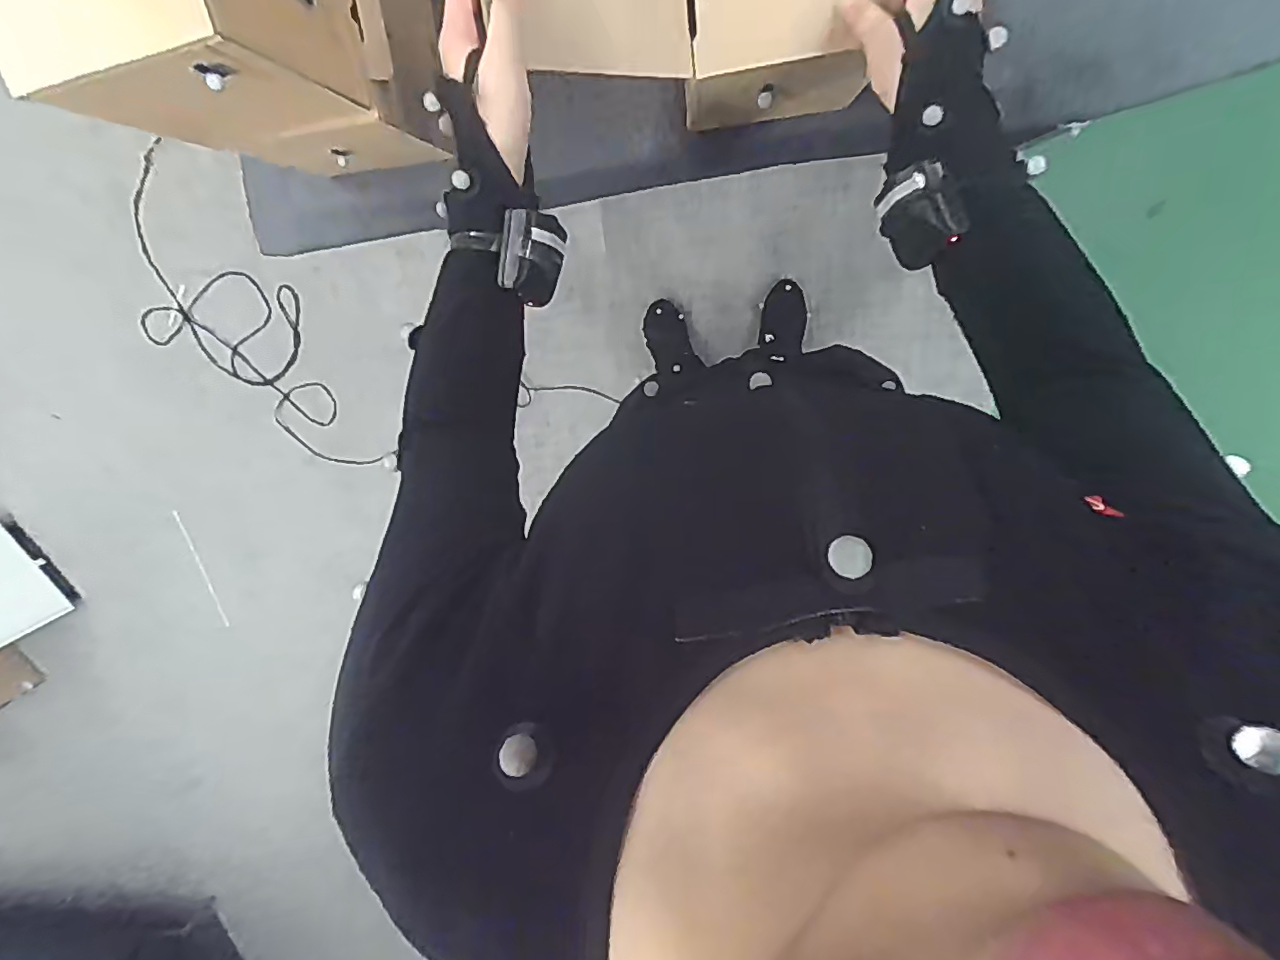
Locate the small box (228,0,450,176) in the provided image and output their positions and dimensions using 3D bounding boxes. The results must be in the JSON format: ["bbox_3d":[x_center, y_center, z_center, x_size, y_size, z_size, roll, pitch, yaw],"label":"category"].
[{"bbox_3d":[-0.320,-0.433,0.567,0.179,0.176,0.168,-3,110,10],"label":"small box"}]

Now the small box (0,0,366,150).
[{"bbox_3d":[-0.357,-0.378,0.418,0.179,0.176,0.168,-7,109,10],"label":"small box"}]
